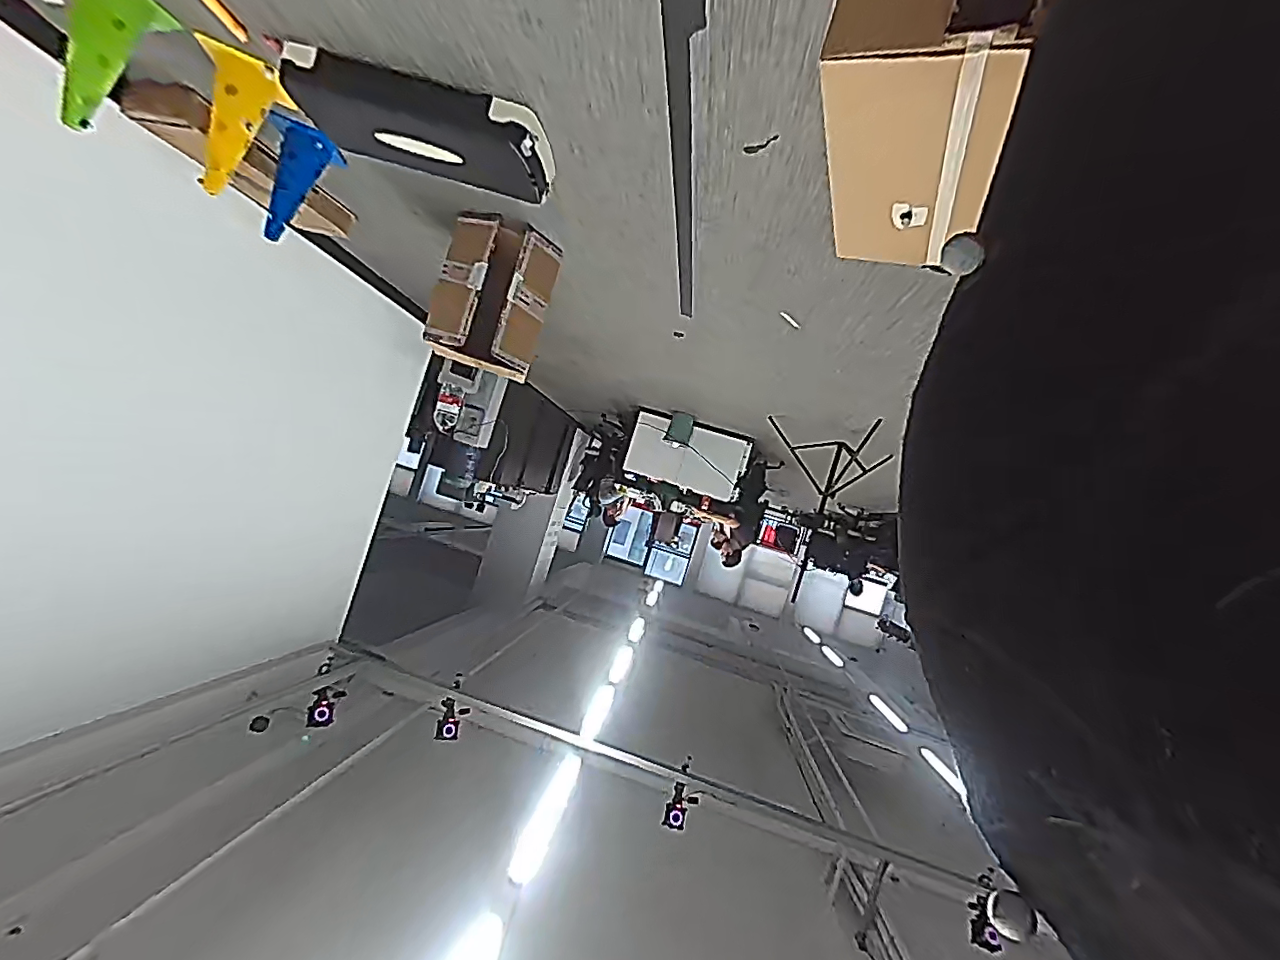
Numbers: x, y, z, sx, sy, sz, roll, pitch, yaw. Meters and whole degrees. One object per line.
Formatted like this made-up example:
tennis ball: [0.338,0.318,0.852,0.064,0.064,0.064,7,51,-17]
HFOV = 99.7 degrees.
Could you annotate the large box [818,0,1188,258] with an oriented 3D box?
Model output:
large box: [0.444,-0.537,0.691,0.320,0.320,0.408,17,179,25]
